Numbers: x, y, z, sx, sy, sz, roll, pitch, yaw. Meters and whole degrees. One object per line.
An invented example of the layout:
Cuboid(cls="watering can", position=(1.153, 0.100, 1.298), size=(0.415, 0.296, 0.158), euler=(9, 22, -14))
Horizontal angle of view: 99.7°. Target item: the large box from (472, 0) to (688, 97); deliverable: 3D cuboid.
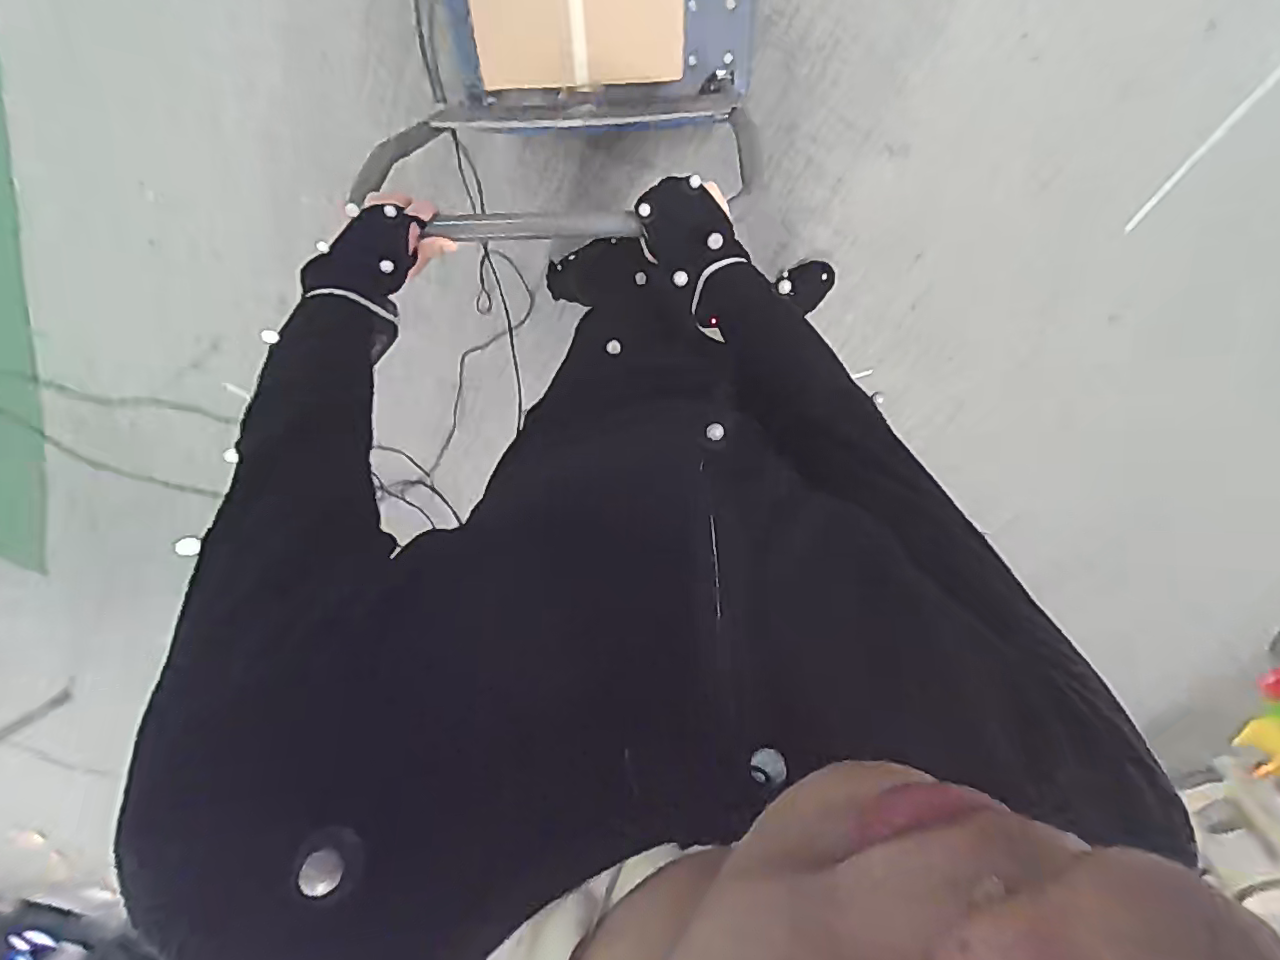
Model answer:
Cuboid(cls="large box", position=(-0.085, -0.856, 0.835), size=(0.320, 0.320, 0.408), euler=(-1, 128, 5))
